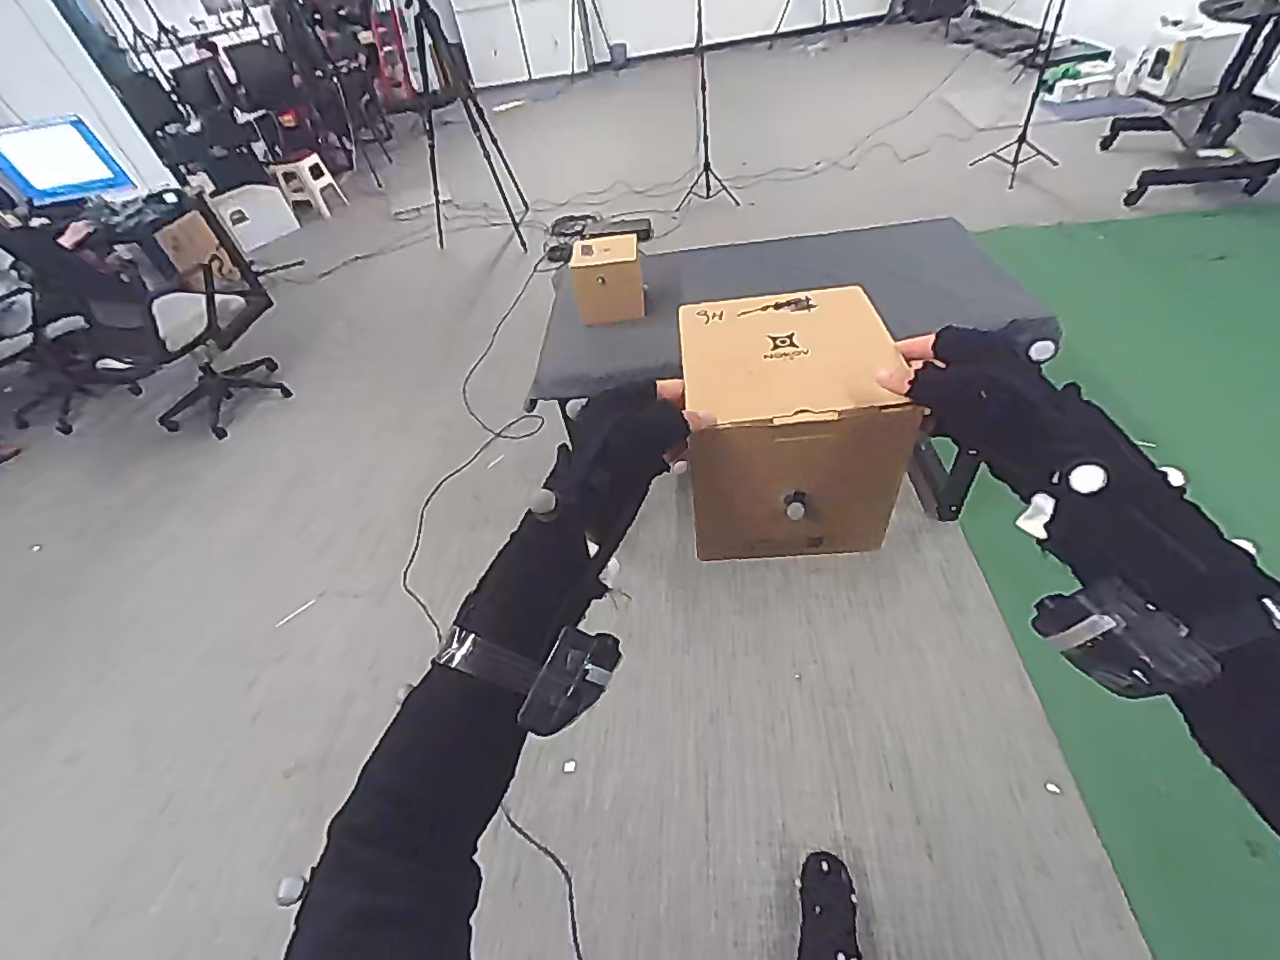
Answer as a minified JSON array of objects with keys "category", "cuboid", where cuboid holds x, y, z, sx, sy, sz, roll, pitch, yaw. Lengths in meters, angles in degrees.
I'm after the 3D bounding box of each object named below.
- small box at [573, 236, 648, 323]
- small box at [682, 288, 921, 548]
[{"category":"small box","cuboid":[-0.075,-0.543,1.476,0.179,0.176,0.168,-4,46,5]},{"category":"small box","cuboid":[0.129,-0.049,0.497,0.168,0.176,0.179,-4,47,5]}]
